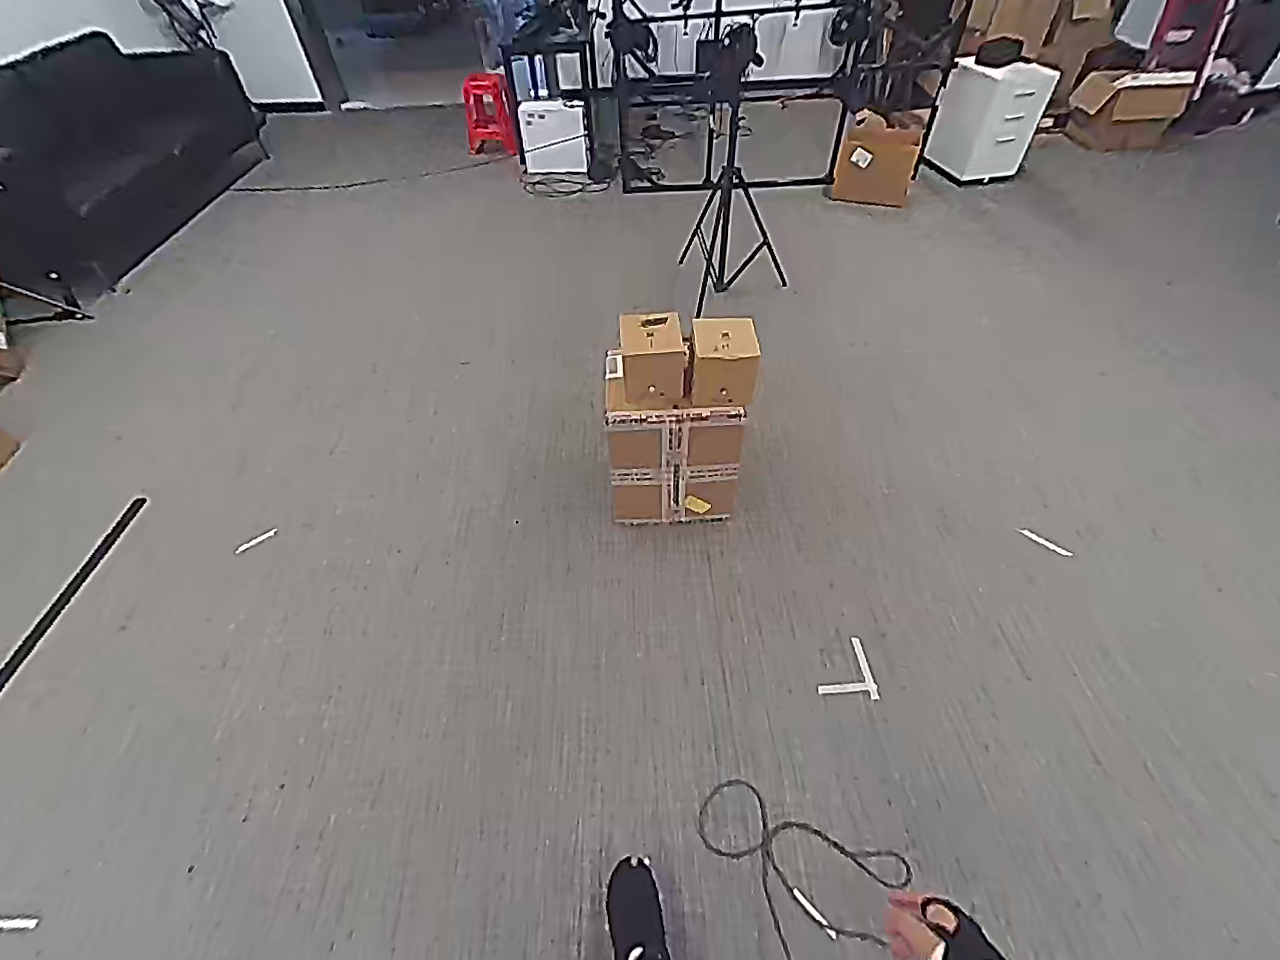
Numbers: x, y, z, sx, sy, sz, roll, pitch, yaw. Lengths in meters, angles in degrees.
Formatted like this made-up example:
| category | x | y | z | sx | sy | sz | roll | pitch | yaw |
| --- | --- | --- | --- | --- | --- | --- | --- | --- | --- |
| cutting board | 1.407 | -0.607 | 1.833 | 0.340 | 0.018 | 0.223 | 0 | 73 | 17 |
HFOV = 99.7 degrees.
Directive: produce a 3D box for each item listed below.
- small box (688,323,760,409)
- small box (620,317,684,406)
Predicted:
| category | x | y | z | sx | sy | sz | roll | pitch | yaw |
| --- | --- | --- | --- | --- | --- | --- | --- | --- | --- |
| small box | 0.223 | -0.314 | 1.491 | 0.168 | 0.176 | 0.179 | -1 | 50 | 0 |
| small box | 0.031 | -0.330 | 1.510 | 0.168 | 0.176 | 0.179 | -5 | 52 | 0 |
